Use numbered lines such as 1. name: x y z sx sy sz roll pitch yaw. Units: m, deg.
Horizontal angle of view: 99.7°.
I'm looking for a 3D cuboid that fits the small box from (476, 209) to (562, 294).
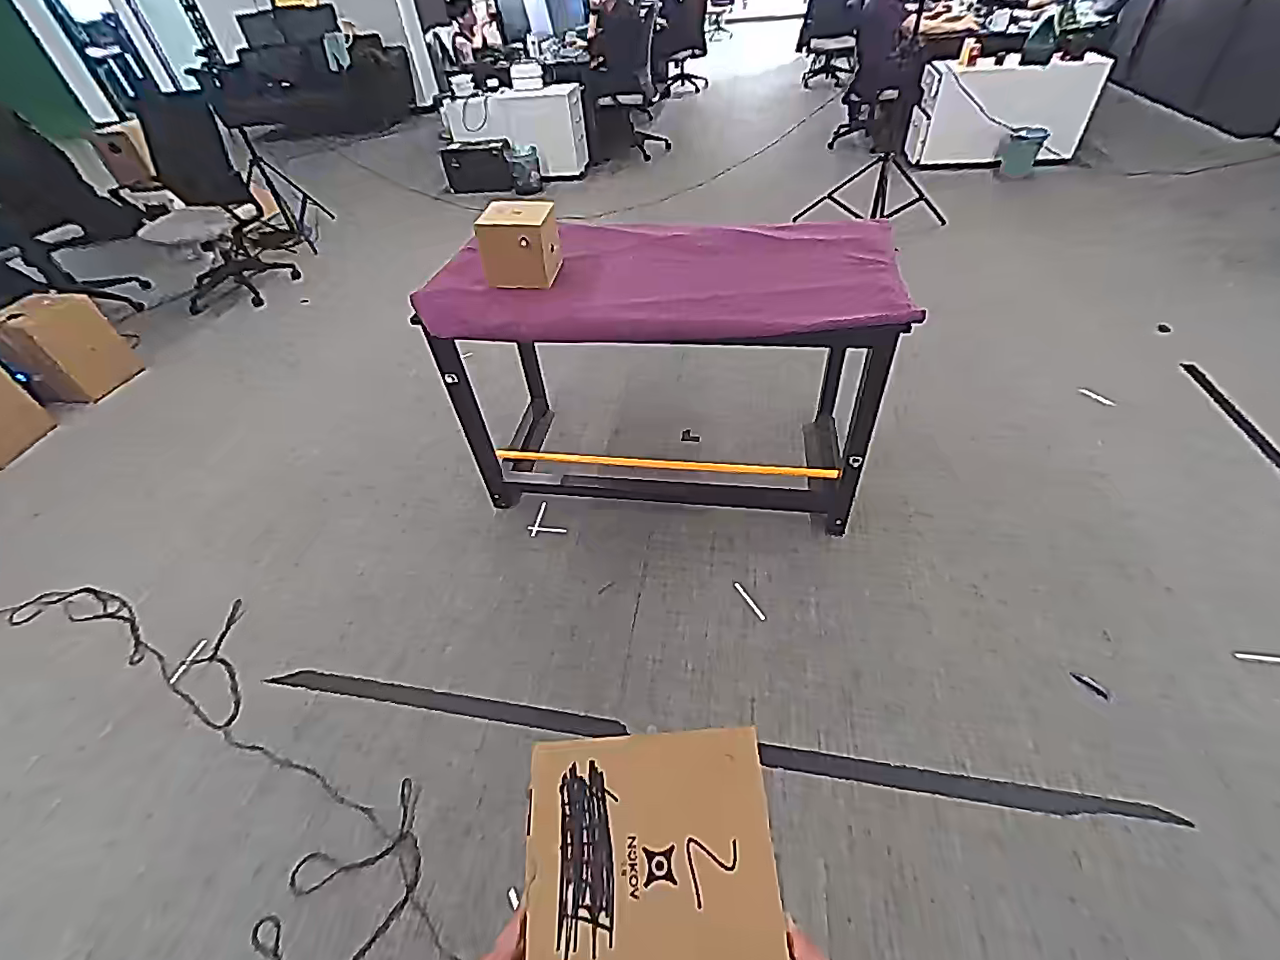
1. small box: -0.319 -0.617 1.467 0.179 0.176 0.168 3 44 6
